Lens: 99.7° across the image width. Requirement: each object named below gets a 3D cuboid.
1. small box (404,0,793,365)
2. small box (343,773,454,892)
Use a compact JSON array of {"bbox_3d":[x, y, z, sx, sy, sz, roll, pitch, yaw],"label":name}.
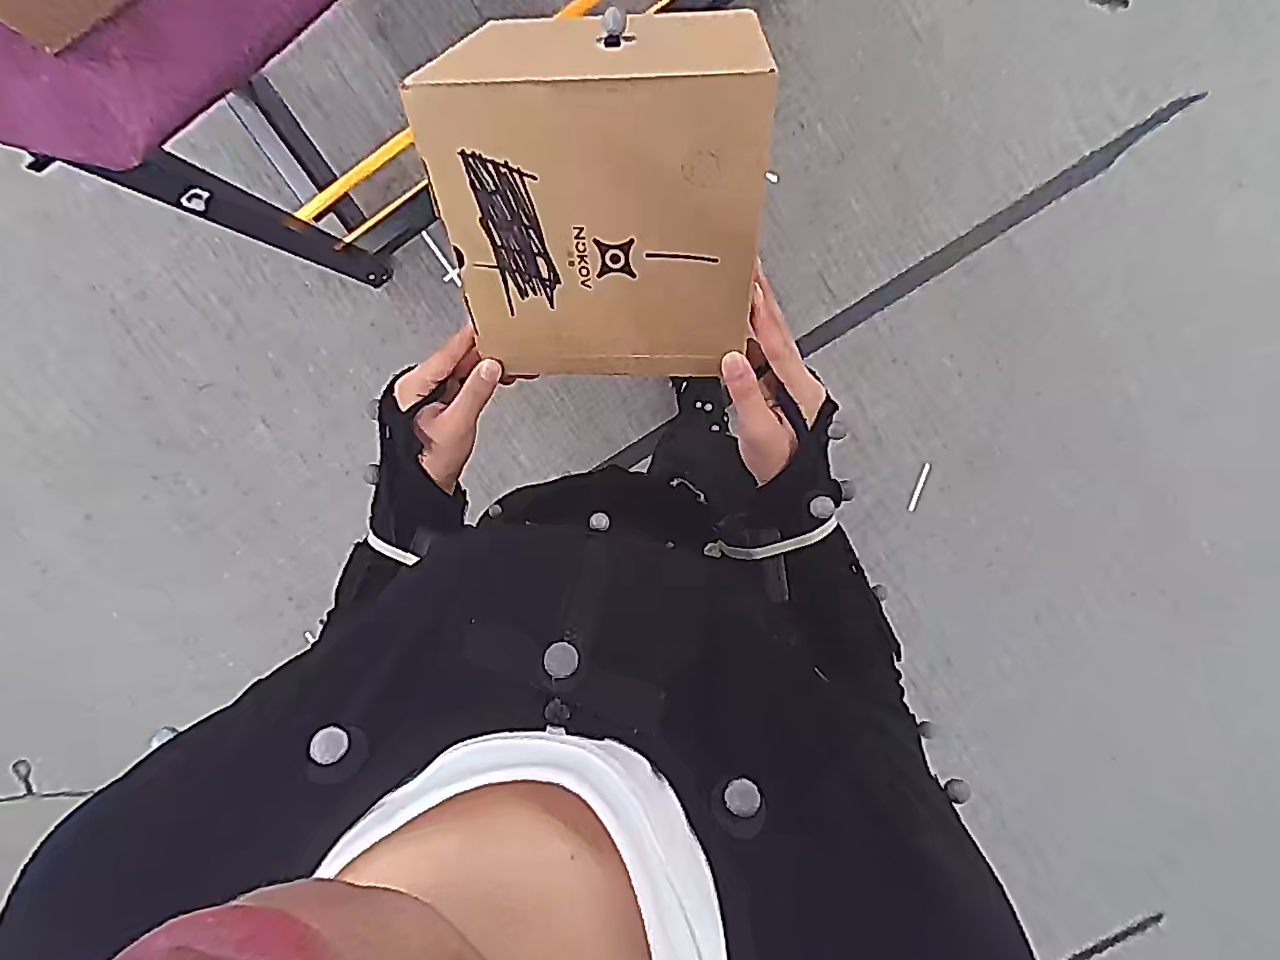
[{"bbox_3d":[-0.013,-0.192,0.347,0.179,0.176,0.168,0,138,4],"label":"small box"},{"bbox_3d":[-0.616,0.898,1.400,0.168,0.176,0.179,-27,97,6],"label":"small box"}]
